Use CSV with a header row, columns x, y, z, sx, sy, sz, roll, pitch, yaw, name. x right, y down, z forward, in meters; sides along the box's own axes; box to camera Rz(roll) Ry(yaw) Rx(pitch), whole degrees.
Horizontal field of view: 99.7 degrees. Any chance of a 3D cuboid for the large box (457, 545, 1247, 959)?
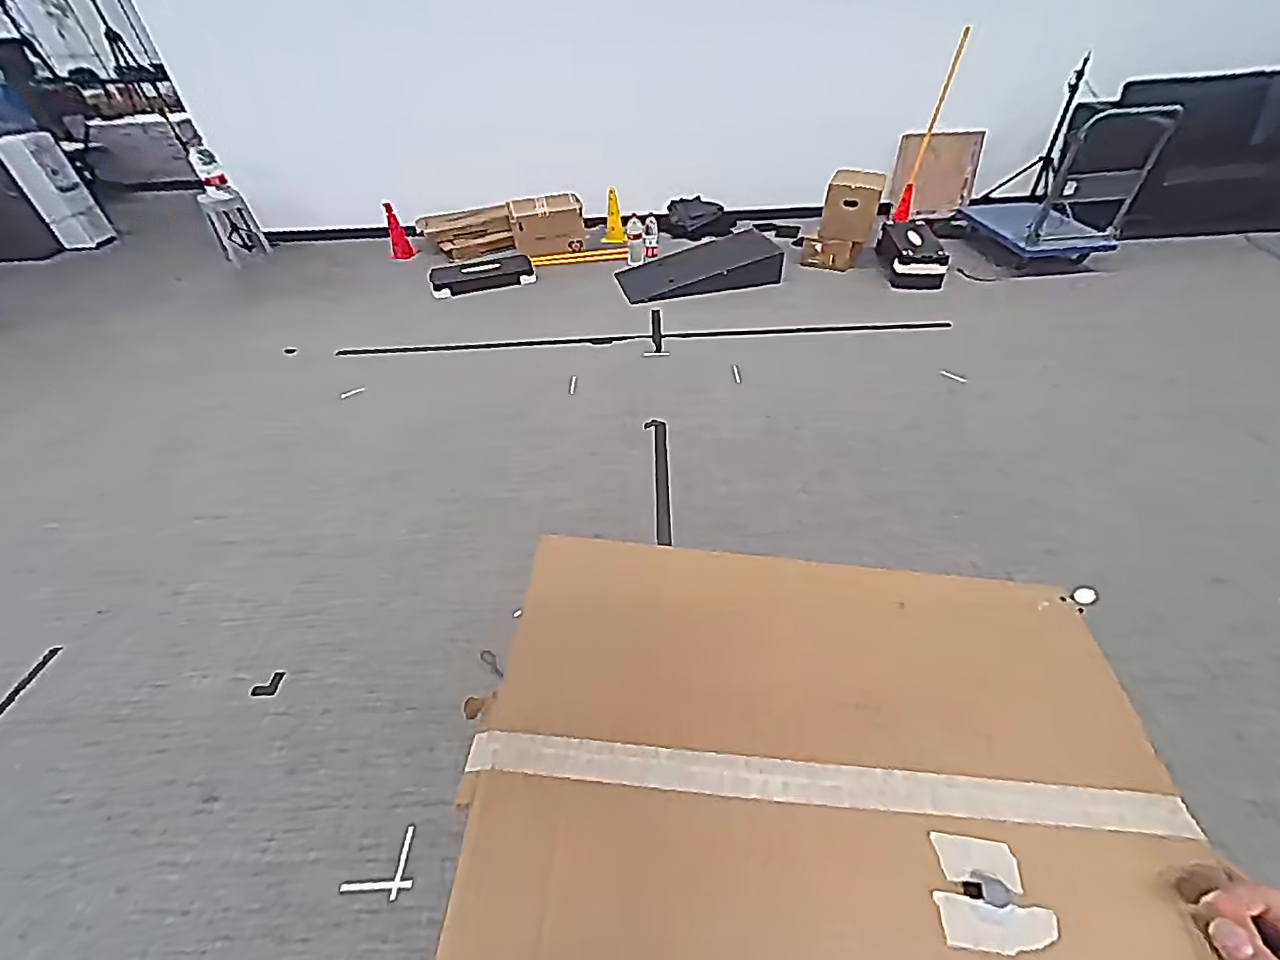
x,y,z,sx,sy,sz,roll,pitch,yaw,name
0.102,0.281,0.426,0.408,0.320,0.320,6,47,-1,large box
